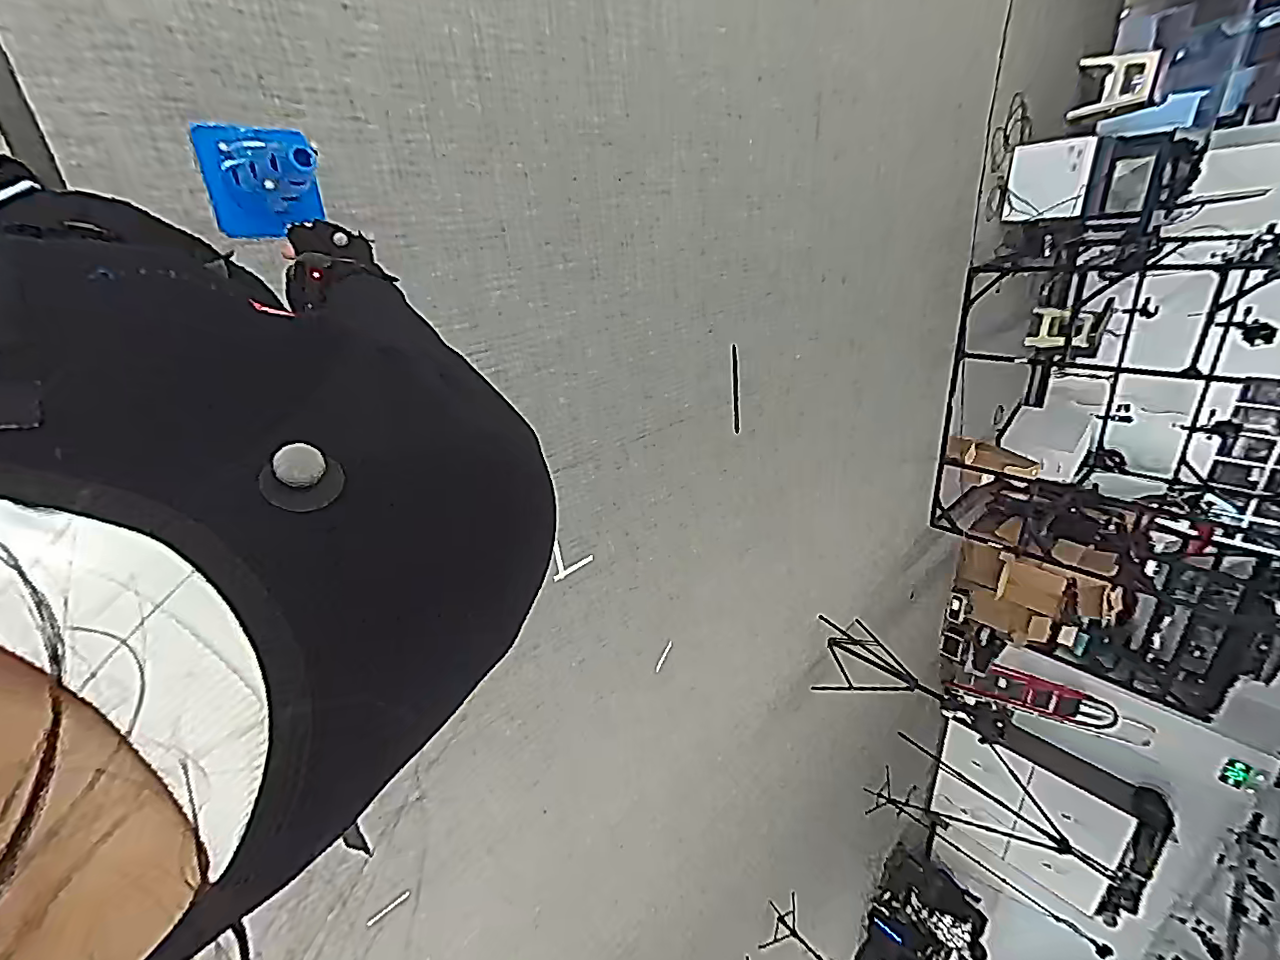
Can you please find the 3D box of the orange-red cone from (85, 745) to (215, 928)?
[{"bbox_3d":[-1.016,0.776,1.133,0.199,0.360,0.198,-18,116,-37],"label":"orange-red cone"}]

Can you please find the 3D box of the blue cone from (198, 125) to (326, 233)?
[{"bbox_3d":[-0.659,-0.570,0.993,0.192,0.380,0.193,-20,119,-38],"label":"blue cone"}]
